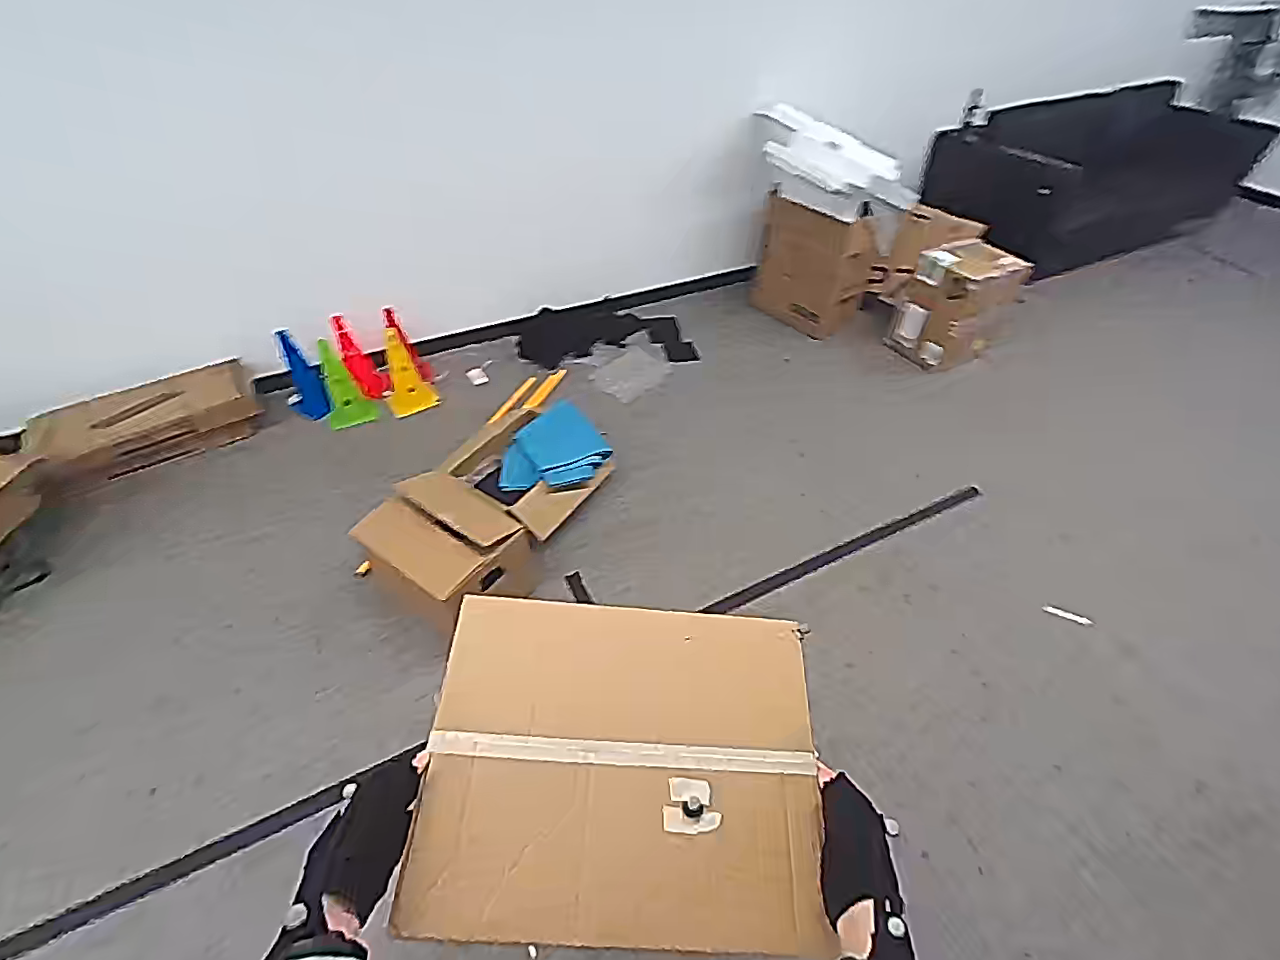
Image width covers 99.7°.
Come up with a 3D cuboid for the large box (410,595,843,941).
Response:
[{"bbox_3d":[-0.019,0.360,0.689,0.408,0.320,0.320,6,57,-4],"label":"large box"}]
